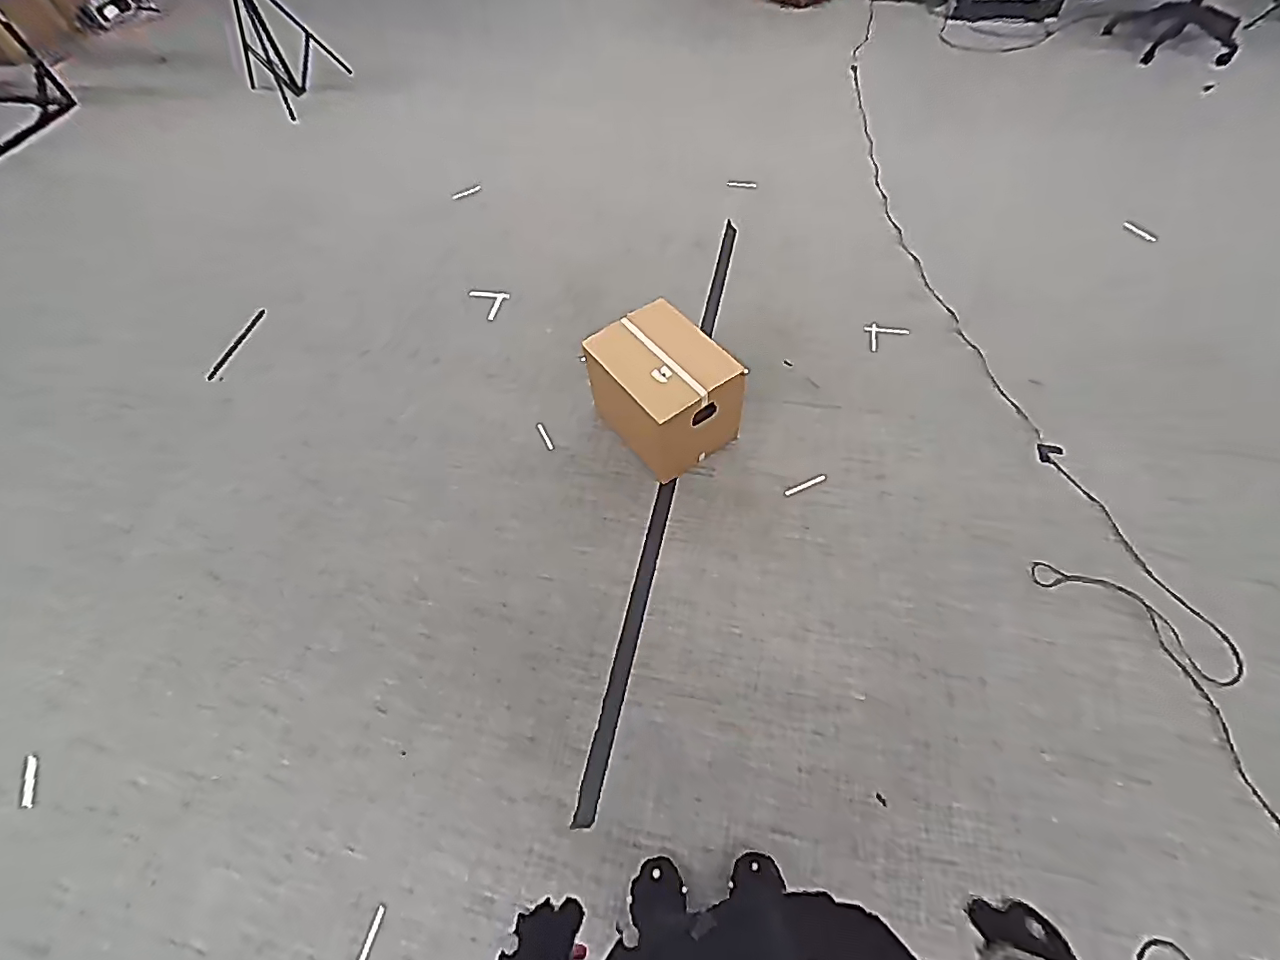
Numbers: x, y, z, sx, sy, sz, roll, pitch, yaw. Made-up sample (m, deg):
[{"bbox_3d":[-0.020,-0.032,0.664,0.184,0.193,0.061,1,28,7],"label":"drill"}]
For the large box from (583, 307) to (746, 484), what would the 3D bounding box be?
[{"bbox_3d":[0.071,-0.268,1.716,0.320,0.320,0.408,-33,62,-15],"label":"large box"}]
